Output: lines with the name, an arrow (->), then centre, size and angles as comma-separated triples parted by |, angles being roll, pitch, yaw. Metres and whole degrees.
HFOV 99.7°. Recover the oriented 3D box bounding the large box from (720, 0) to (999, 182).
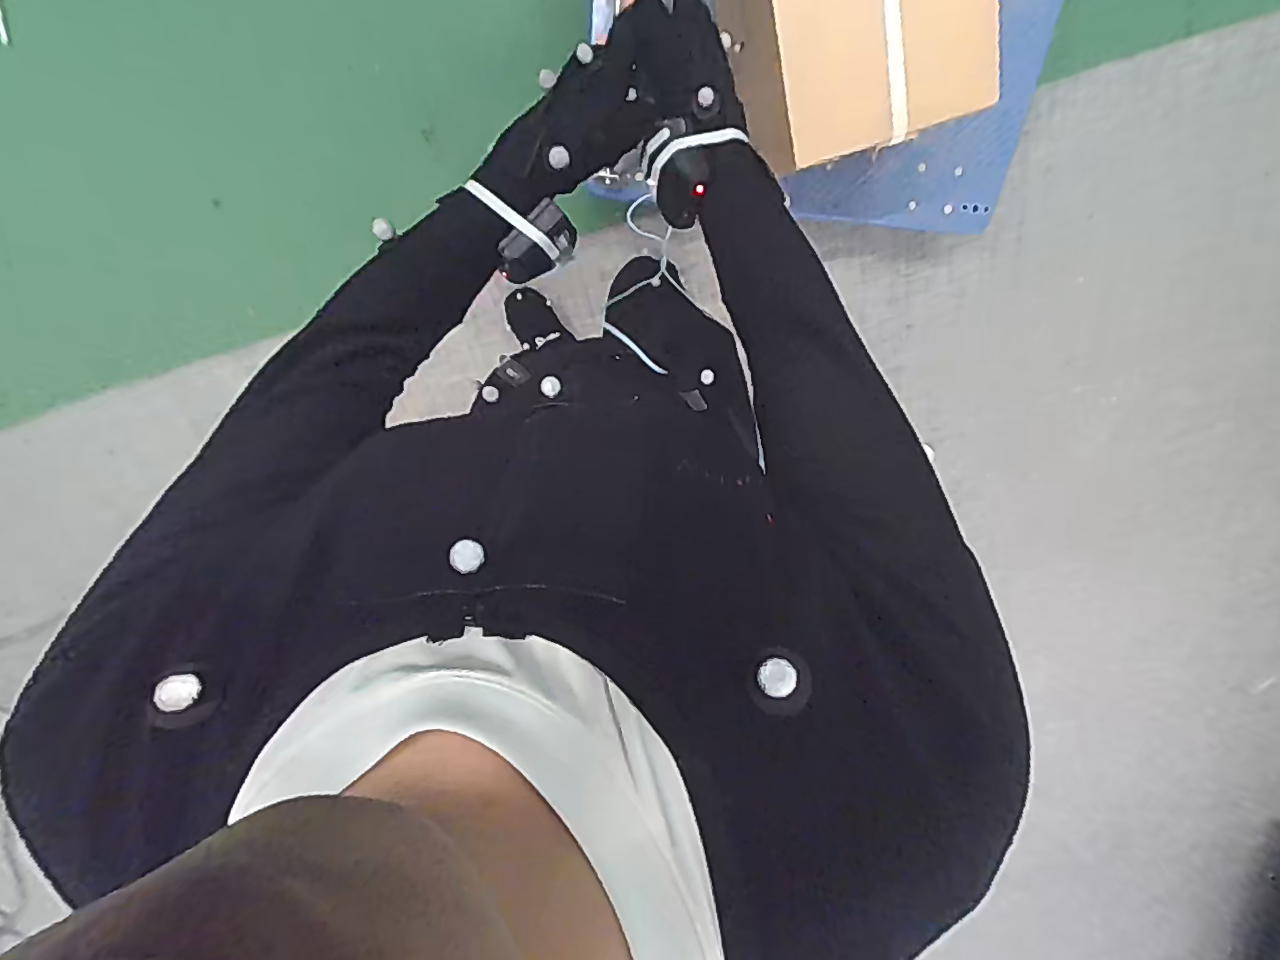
large box -> 0.323, -0.752, 0.867 | 0.320, 0.320, 0.408 | -16, 114, 3
